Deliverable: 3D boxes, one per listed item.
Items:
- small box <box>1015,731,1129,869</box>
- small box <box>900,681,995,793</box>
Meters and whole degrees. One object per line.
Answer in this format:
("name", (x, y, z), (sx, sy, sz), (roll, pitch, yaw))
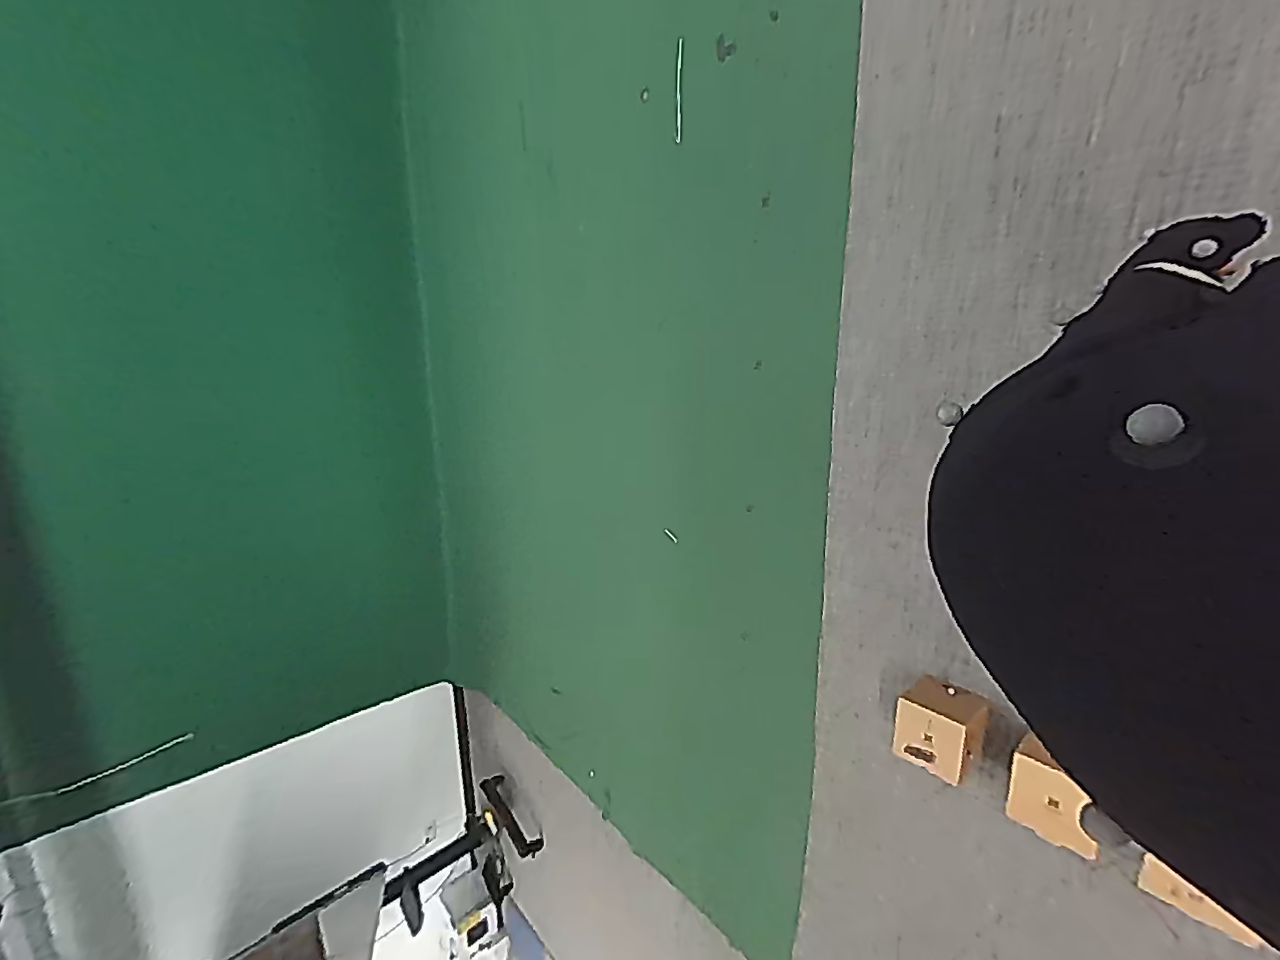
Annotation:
("small box", (0.980, 0.709, 1.225), (0.168, 0.176, 0.179), (12, 107, 48))
("small box", (0.807, 0.662, 1.418), (0.168, 0.176, 0.179), (13, 107, 48))
